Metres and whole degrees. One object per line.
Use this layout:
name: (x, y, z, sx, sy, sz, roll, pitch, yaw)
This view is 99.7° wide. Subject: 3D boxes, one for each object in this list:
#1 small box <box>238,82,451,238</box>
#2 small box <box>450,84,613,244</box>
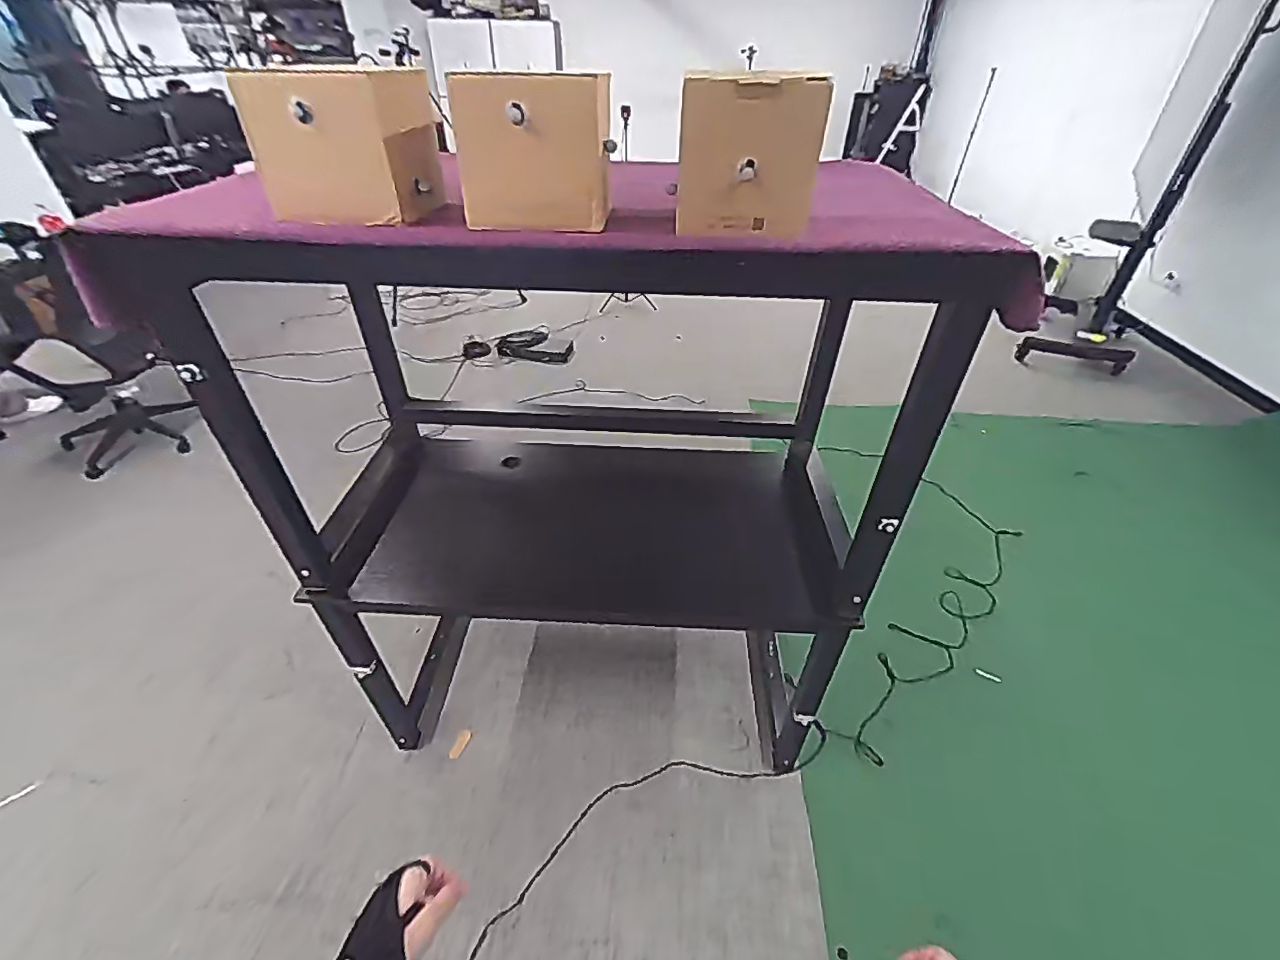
small box: (-0.383, -0.438, 0.739, 0.179, 0.176, 0.168, 4, 38, 3)
small box: (-0.129, -0.425, 0.730, 0.179, 0.176, 0.168, 1, 37, 2)
